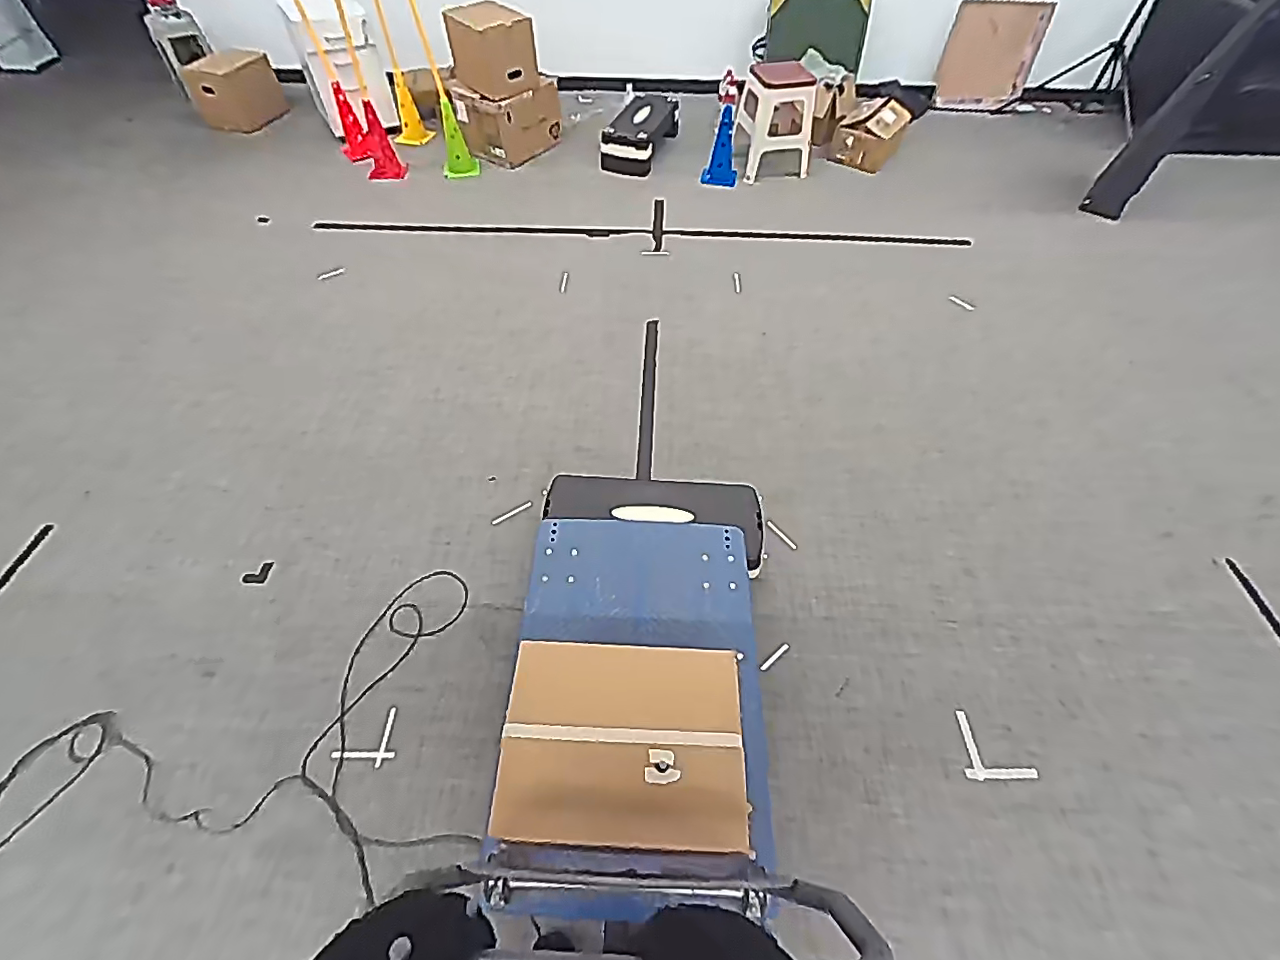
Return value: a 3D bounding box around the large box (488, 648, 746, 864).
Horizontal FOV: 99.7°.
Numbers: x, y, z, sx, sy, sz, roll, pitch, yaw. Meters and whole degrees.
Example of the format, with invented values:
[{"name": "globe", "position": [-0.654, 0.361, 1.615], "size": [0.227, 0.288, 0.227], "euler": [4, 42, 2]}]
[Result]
[{"name": "large box", "position": [-0.037, 0.531, 1.028], "size": [0.408, 0.320, 0.320], "euler": [3, 53, 0]}]
